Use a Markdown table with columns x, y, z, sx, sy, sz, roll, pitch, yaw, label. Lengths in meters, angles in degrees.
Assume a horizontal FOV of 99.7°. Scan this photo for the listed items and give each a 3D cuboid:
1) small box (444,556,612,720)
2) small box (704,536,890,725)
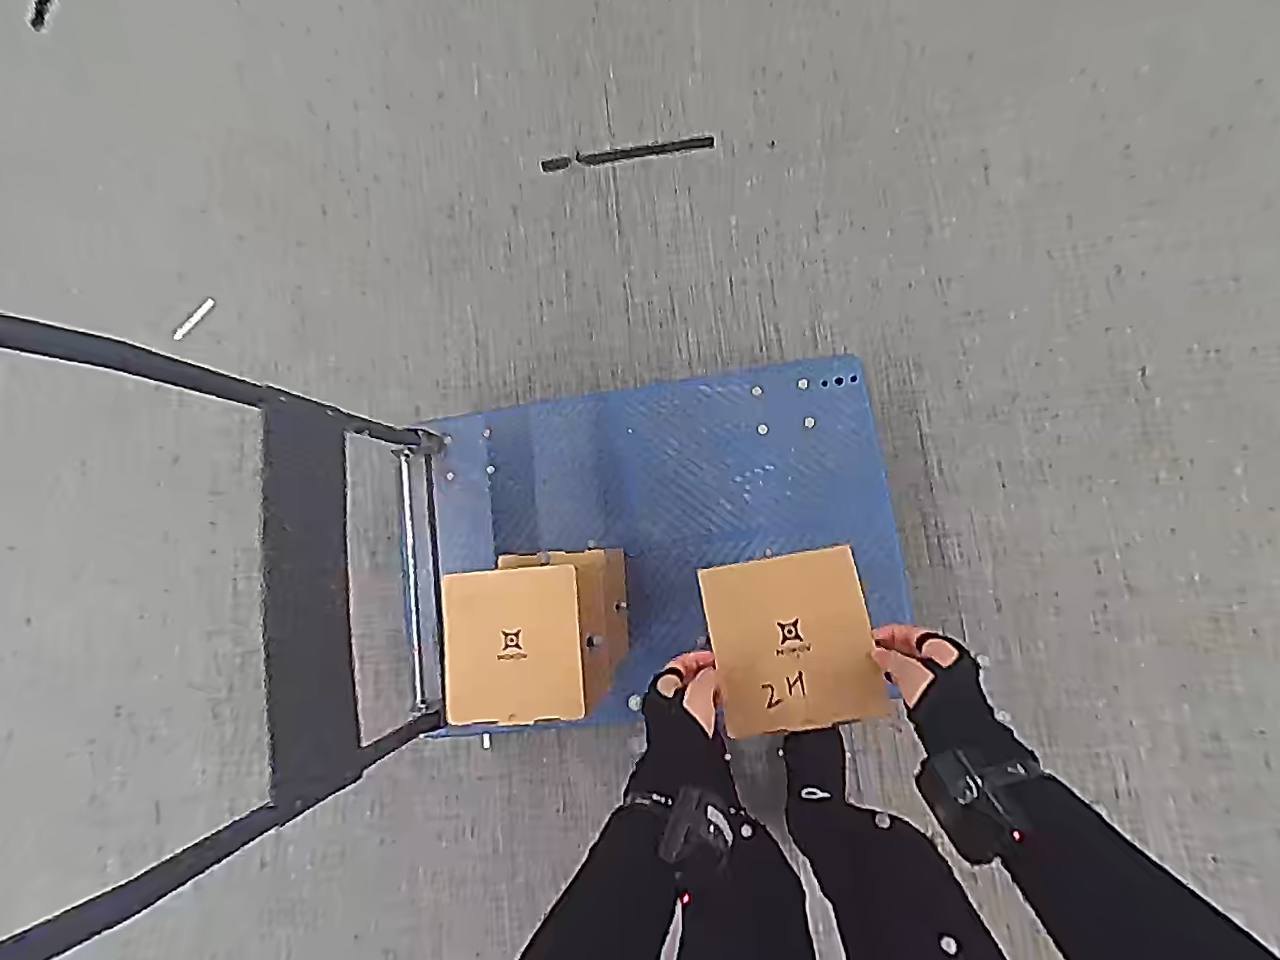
| x | y | z | sx | sy | sz | roll | pitch | yaw | label |
| --- | --- | --- | --- | --- | --- | --- | --- | --- | --- |
| -0.134 | 0.190 | 0.695 | 0.168 | 0.176 | 0.179 | -6 | 84 | 7 | small box |
| 0.170 | 0.173 | 0.645 | 0.168 | 0.176 | 0.179 | -11 | 77 | 6 | small box |
